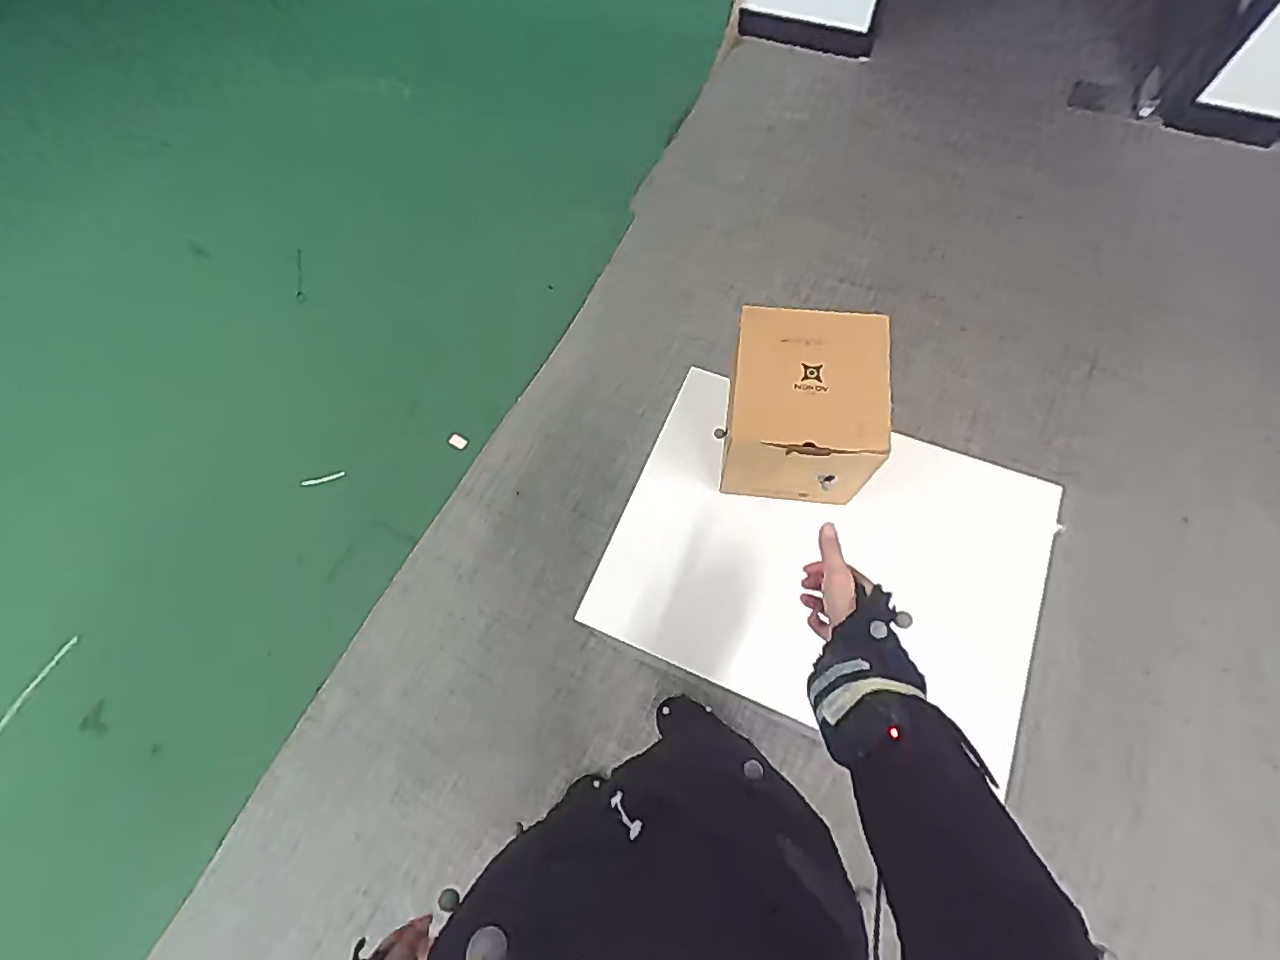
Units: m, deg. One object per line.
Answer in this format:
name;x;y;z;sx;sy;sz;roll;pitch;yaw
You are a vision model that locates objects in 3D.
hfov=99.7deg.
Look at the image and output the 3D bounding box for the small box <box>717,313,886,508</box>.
small box;0.186;-0.076;0.659;0.168;0.176;0.179;6;69;5
